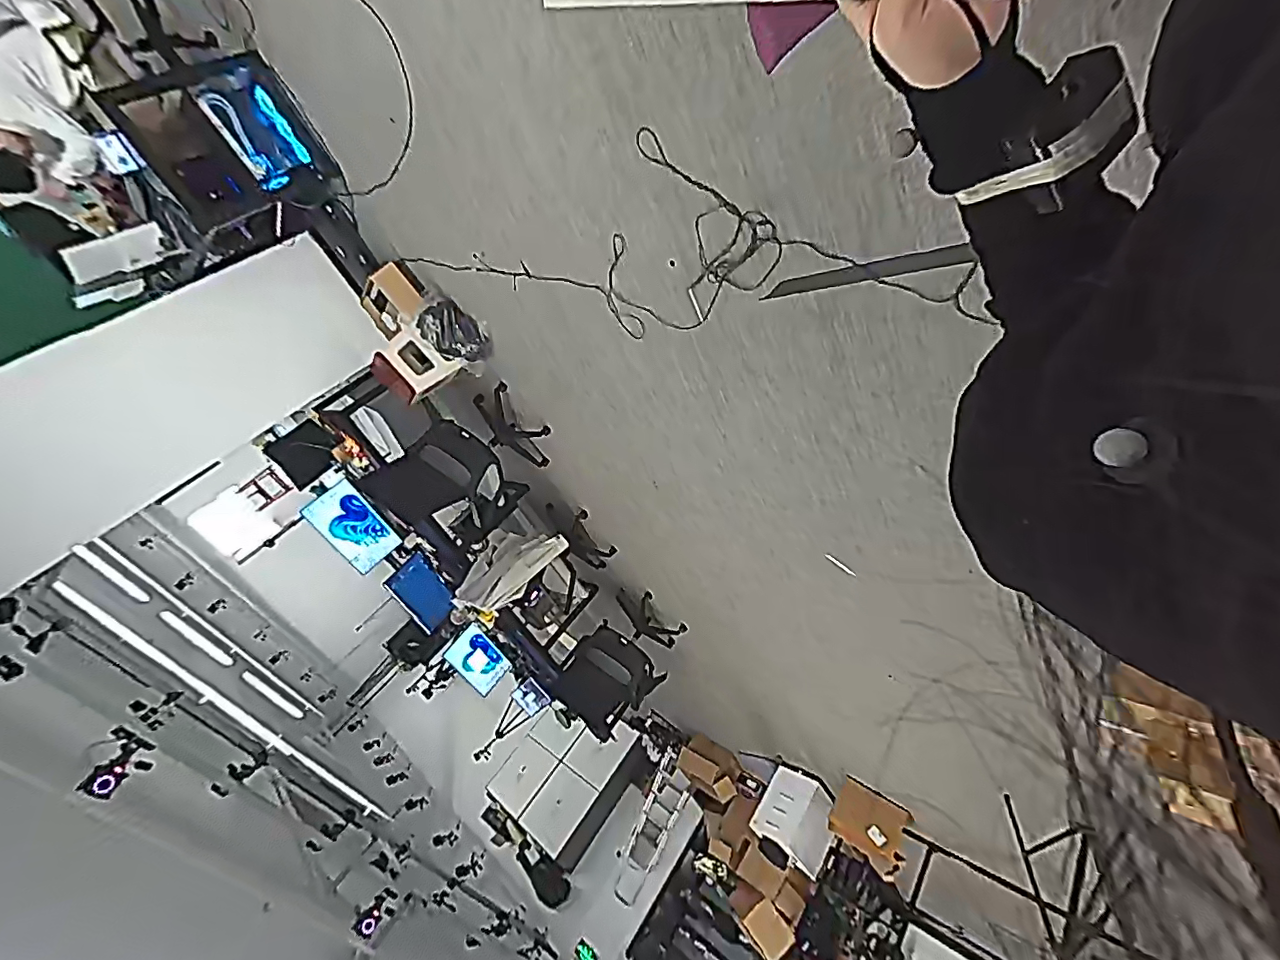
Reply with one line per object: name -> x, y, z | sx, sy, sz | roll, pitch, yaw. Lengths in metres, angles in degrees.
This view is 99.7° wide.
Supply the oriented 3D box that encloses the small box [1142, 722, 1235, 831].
small box -> 1.493, 0.798, 1.474 | 0.168, 0.176, 0.179 | 4, 133, 49
